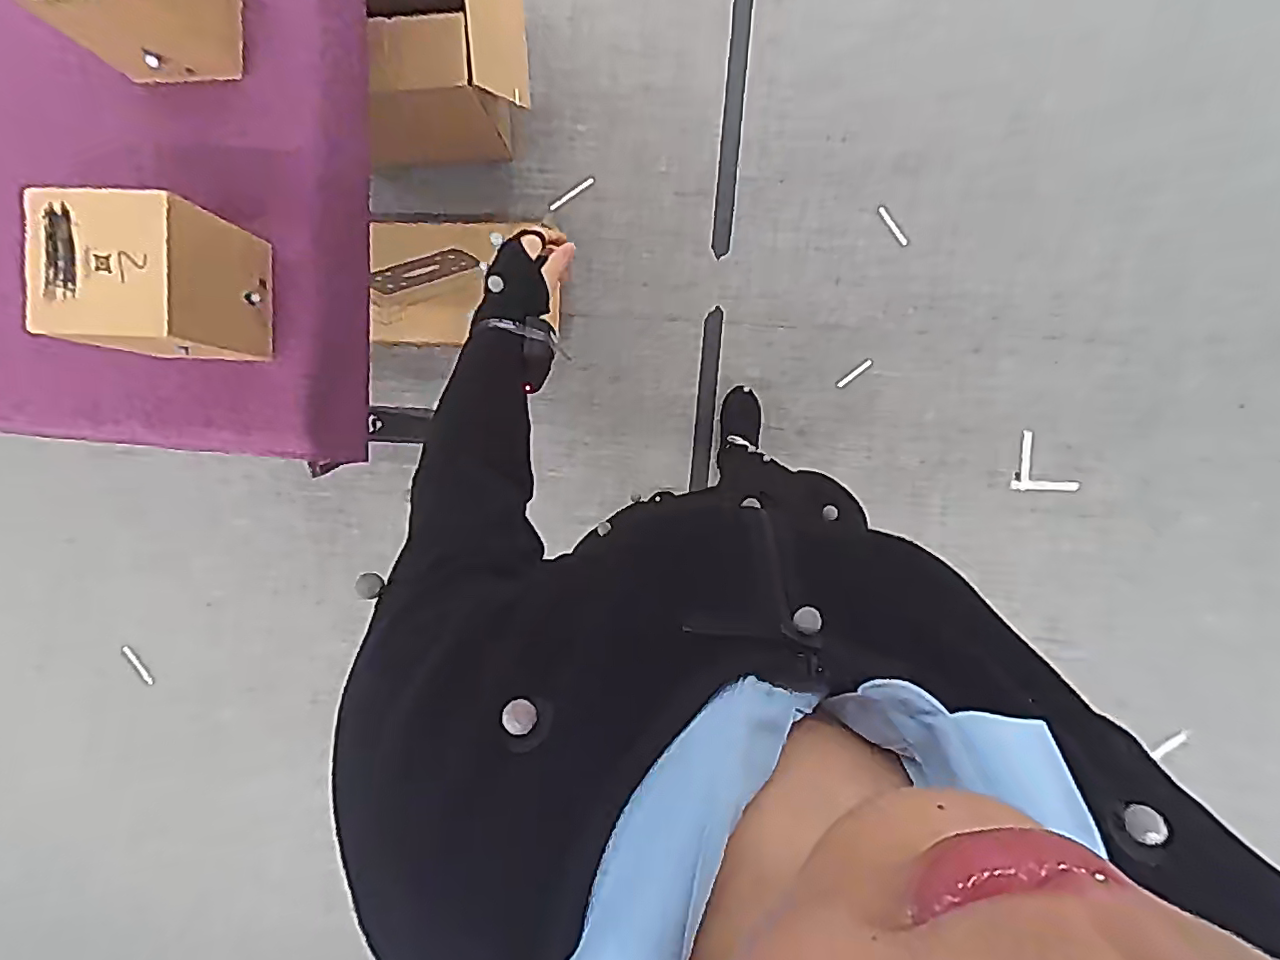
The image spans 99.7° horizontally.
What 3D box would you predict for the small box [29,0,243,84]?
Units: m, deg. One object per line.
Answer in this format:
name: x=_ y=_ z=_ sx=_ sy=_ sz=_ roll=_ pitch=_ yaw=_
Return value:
small box: x=-0.637 y=-0.642 z=0.676 sx=0.168 sy=0.176 sz=0.179 roll=2 pitch=93 yaw=5
